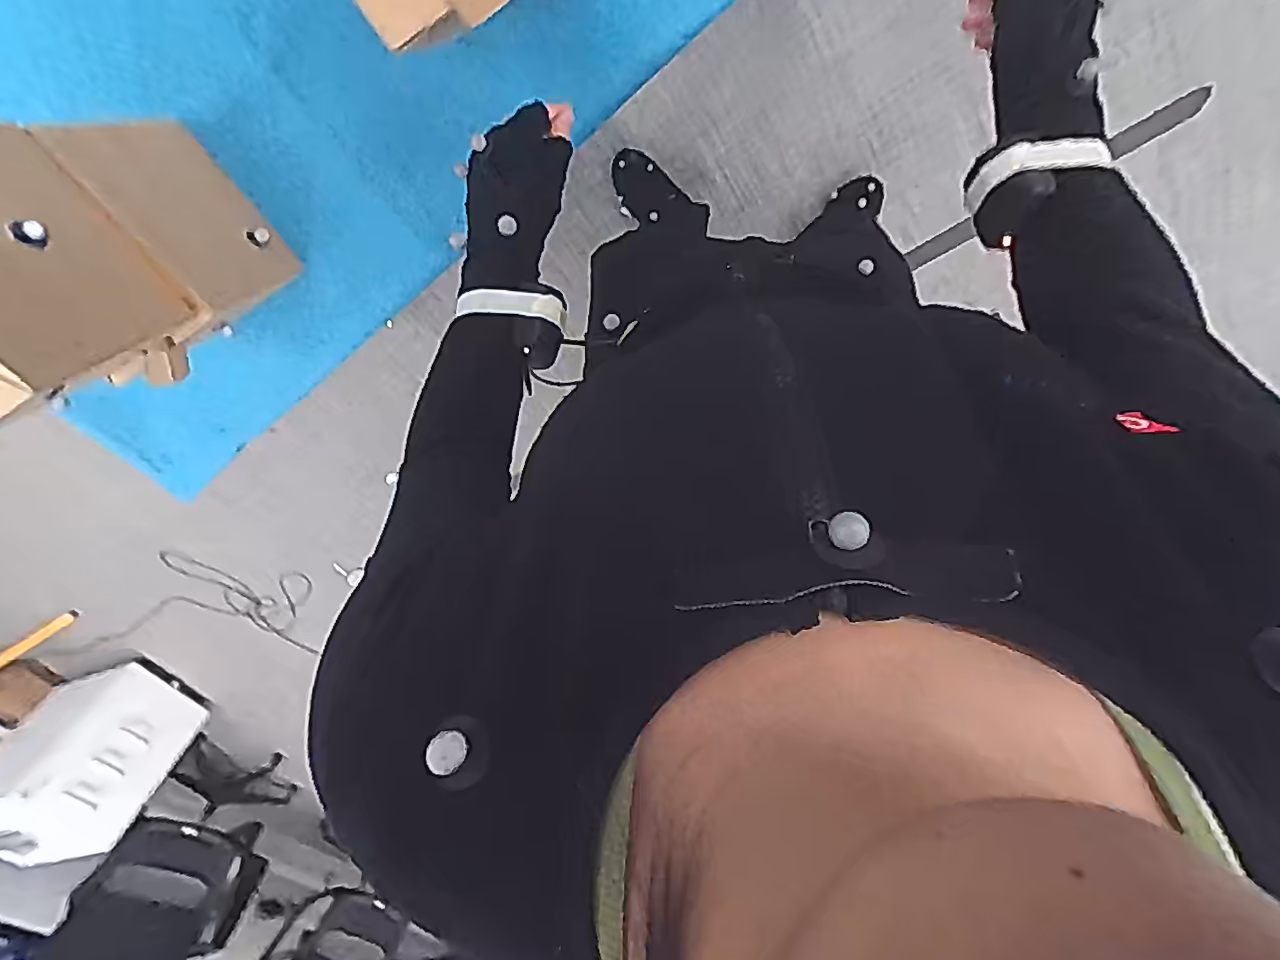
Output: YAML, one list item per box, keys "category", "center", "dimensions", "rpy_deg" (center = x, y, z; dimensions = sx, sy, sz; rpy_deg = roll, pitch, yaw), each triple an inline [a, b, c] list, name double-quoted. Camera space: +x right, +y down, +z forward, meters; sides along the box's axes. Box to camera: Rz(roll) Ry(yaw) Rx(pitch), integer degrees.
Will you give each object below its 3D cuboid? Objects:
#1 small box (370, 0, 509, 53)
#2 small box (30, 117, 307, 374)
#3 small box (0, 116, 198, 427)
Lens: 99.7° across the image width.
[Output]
- category: "small box"
  center: [-0.146, -0.449, 0.384]
  dimensions: [0.168, 0.179, 0.176]
  rpy_deg: [-21, 129, 16]
- category: "small box"
  center: [-0.511, -0.240, 0.566]
  dimensions: [0.168, 0.176, 0.179]
  rpy_deg: [-24, 121, 18]
- category: "small box"
  center: [-0.531, -0.150, 0.429]
  dimensions: [0.168, 0.176, 0.179]
  rpy_deg: [-21, 123, 16]
